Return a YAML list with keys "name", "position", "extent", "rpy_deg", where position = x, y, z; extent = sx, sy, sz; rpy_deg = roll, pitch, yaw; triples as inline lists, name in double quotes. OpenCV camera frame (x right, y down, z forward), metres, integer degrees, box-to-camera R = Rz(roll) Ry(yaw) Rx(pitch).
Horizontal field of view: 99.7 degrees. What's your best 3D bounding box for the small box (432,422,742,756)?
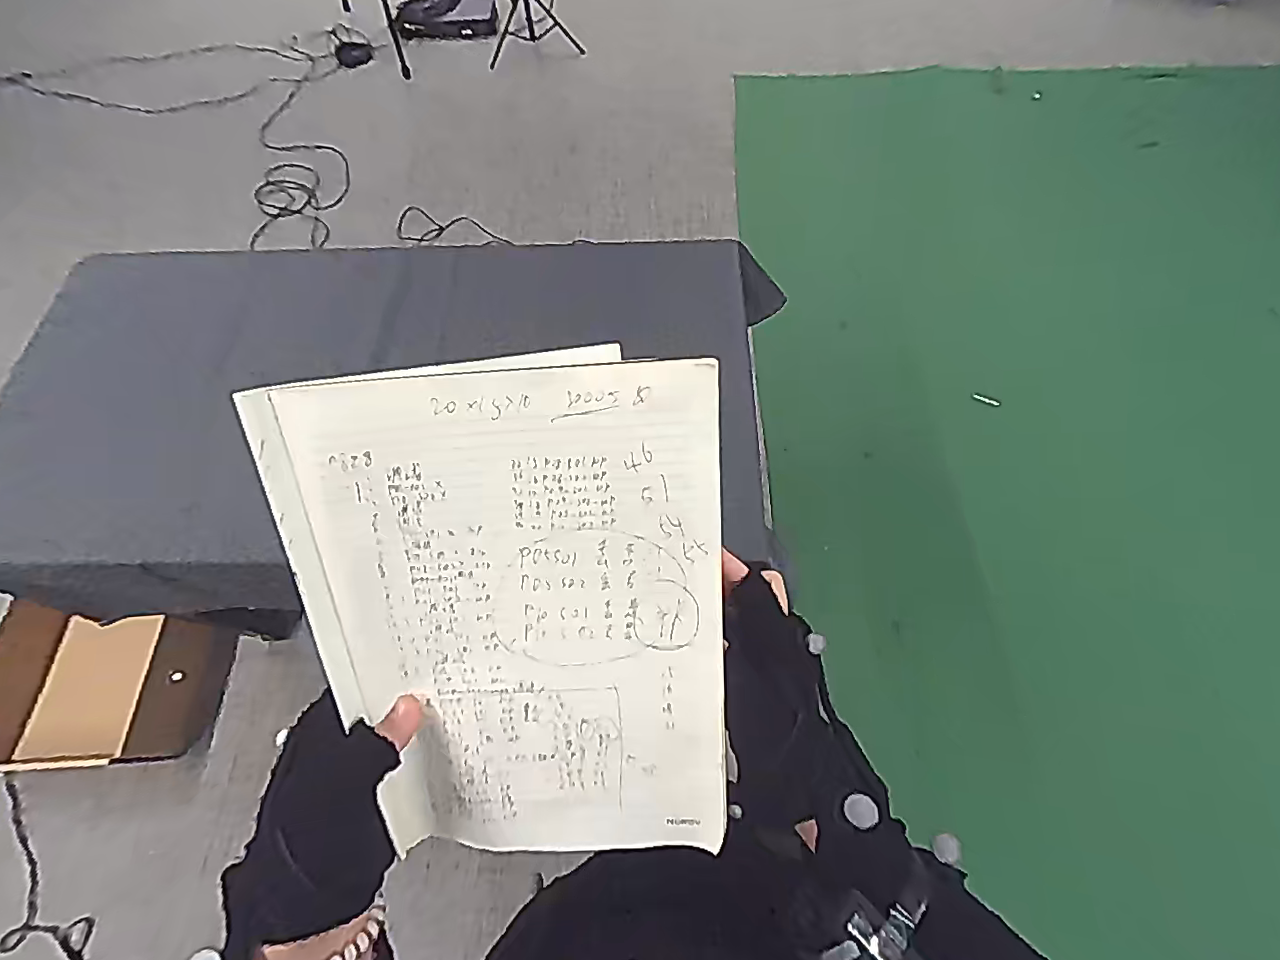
- name: "small box"
  position: [-0.032, 0.075, 0.405]
  extent: [0.168, 0.176, 0.179]
  rpy_deg: [-12, 81, 2]
